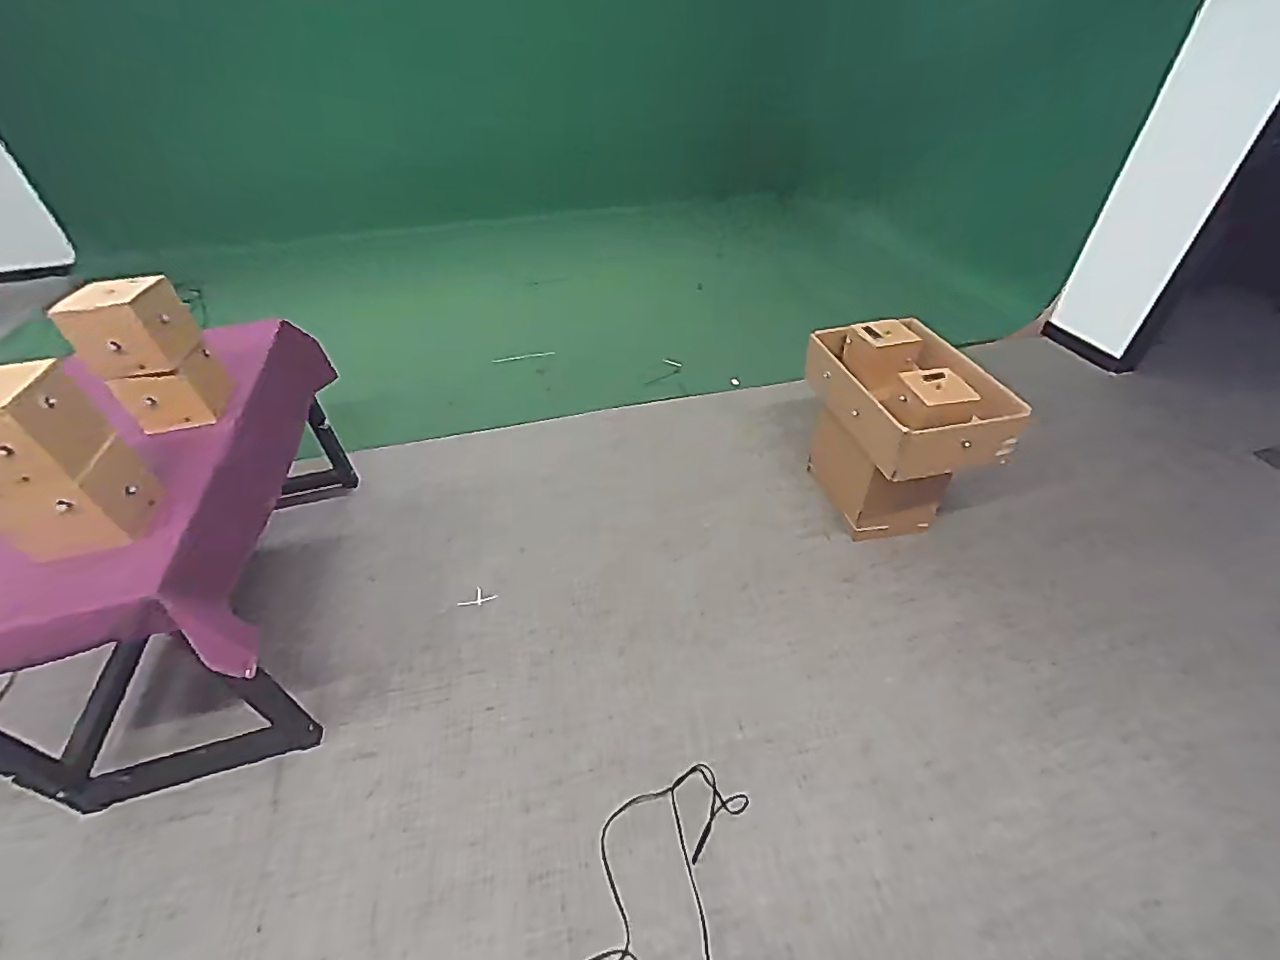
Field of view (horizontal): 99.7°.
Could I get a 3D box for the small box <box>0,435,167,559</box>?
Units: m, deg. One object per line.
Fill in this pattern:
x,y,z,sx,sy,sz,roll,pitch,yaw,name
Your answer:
-1.116,0.035,1.086,0.179,0.176,0.168,-11,42,-8,small box

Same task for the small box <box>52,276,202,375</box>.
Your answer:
-1.200,-0.361,1.286,0.168,0.176,0.179,-9,43,-6,small box

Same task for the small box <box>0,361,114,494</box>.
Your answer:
-1.126,-0.089,0.981,0.168,0.176,0.179,-11,42,-10,small box

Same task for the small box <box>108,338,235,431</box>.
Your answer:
-1.197,-0.243,1.401,0.168,0.176,0.179,-12,42,-9,small box
